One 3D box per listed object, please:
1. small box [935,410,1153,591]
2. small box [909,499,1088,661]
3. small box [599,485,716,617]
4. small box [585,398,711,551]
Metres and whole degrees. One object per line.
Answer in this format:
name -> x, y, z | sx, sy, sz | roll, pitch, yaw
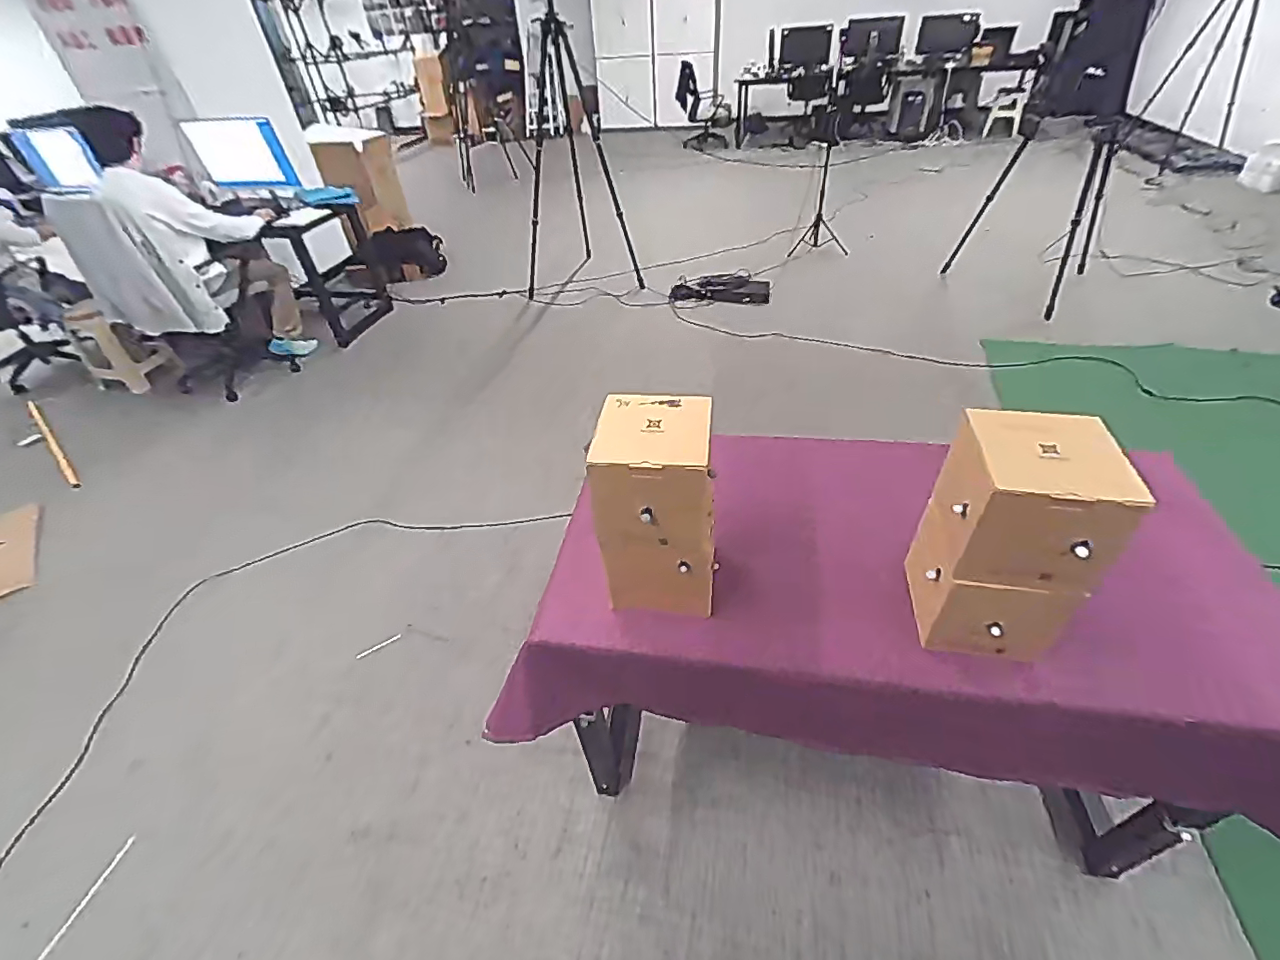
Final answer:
small box -> 0.518, 0.027, 0.728 | 0.168, 0.176, 0.179 | 6, 41, 13
small box -> 0.530, 0.153, 0.831 | 0.168, 0.176, 0.179 | 5, 41, 12
small box -> 0.039, 0.119, 0.934 | 0.179, 0.176, 0.168 | 3, 41, 9
small box -> 0.023, -0.009, 0.831 | 0.168, 0.176, 0.179 | 3, 41, 8
